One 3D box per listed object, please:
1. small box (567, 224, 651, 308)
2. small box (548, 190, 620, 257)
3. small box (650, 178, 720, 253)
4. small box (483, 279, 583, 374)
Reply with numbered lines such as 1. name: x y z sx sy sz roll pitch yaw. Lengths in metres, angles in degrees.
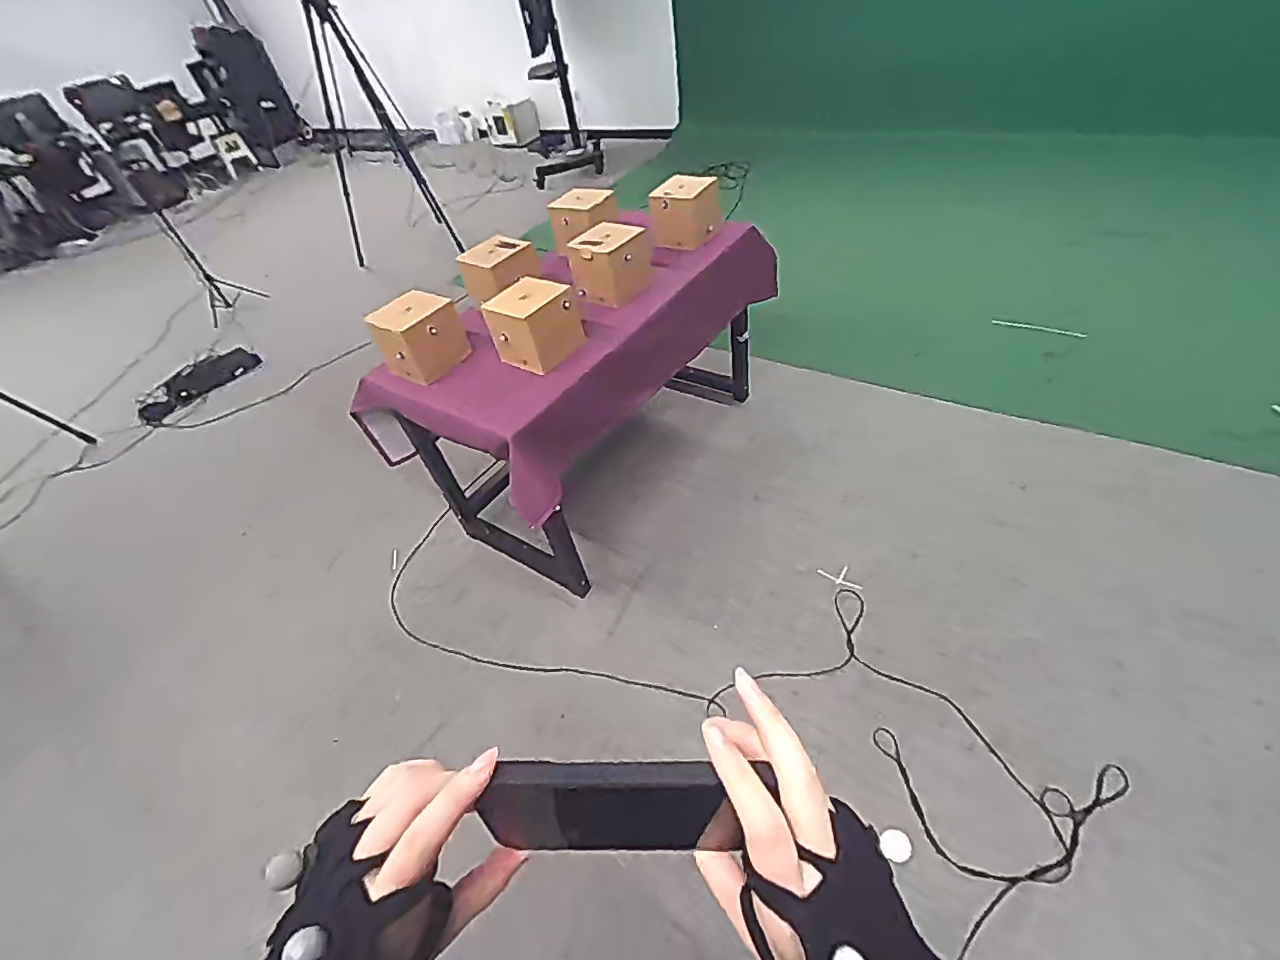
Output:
1. small box: -0.084 -0.634 1.605 0.168 0.176 0.179 25 55 31
2. small box: -0.184 -0.876 1.860 0.179 0.176 0.168 20 54 27
3. small box: 0.155 -0.879 1.793 0.168 0.176 0.179 21 53 29
4. small box: -0.272 -0.401 1.418 0.168 0.176 0.179 23 54 30
